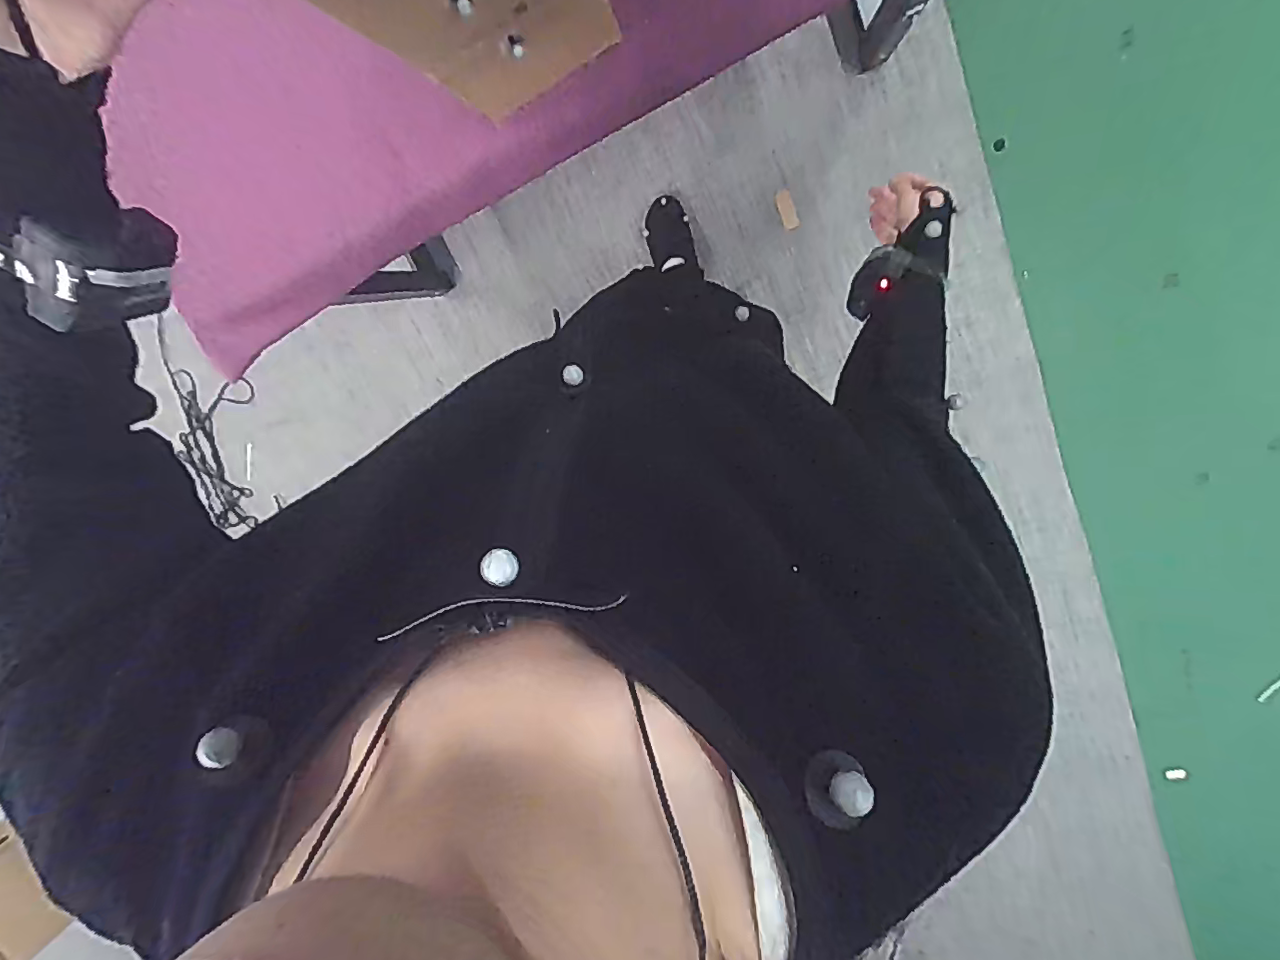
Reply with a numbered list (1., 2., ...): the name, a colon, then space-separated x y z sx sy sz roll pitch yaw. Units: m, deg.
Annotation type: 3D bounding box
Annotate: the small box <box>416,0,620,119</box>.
1. small box: -0.140 -0.498 0.533 0.179 0.176 0.168 -20 106 16
